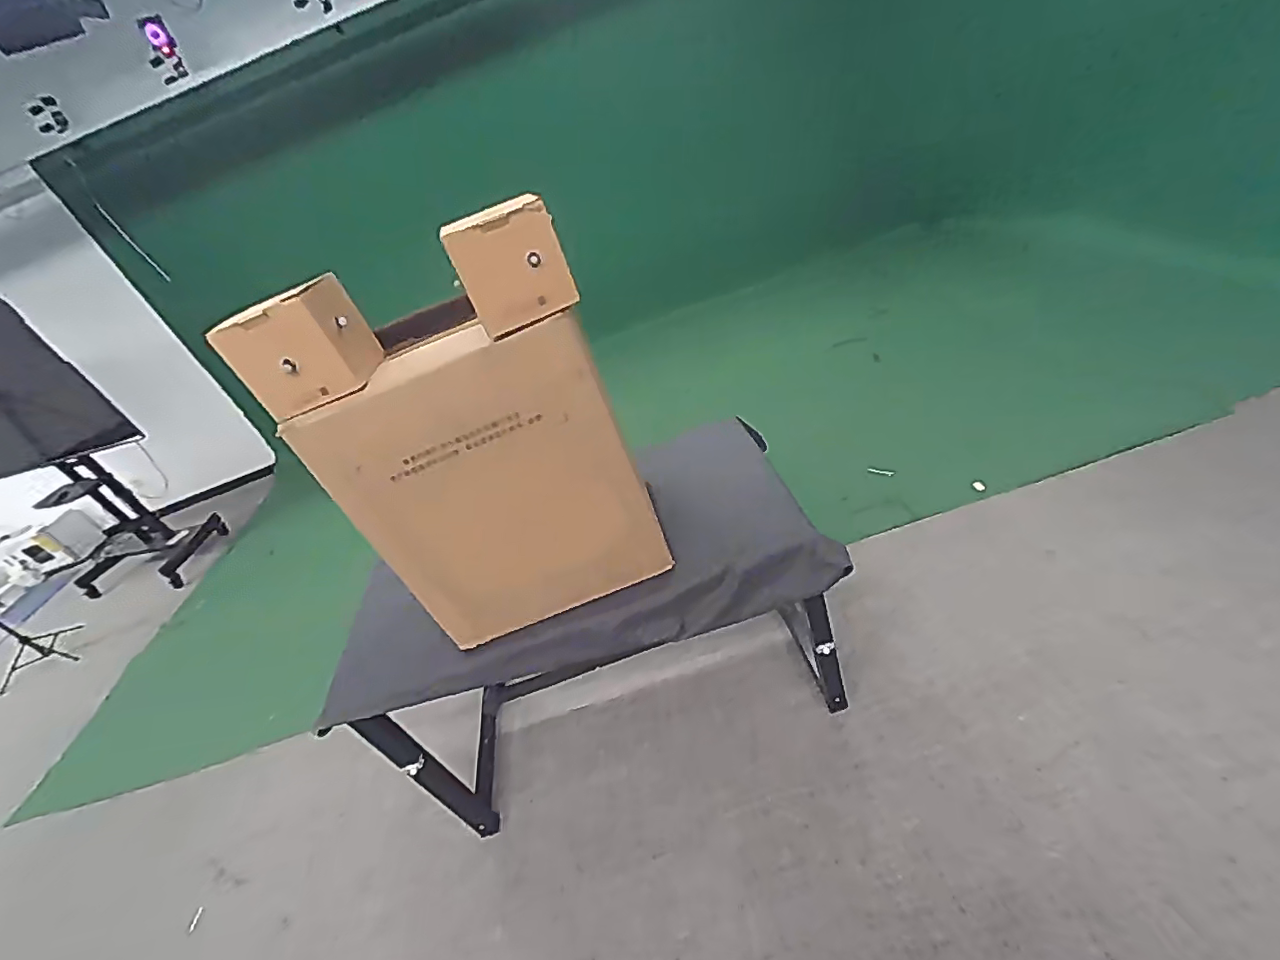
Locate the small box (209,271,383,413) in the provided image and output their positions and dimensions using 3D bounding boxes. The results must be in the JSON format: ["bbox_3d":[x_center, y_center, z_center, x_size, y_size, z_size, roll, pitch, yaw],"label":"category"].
[{"bbox_3d":[-0.583,-0.238,0.948,0.168,0.176,0.179,-21,34,3],"label":"small box"}]

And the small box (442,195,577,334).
[{"bbox_3d":[-0.221,-0.366,0.925,0.168,0.176,0.179,-23,33,-6],"label":"small box"}]
